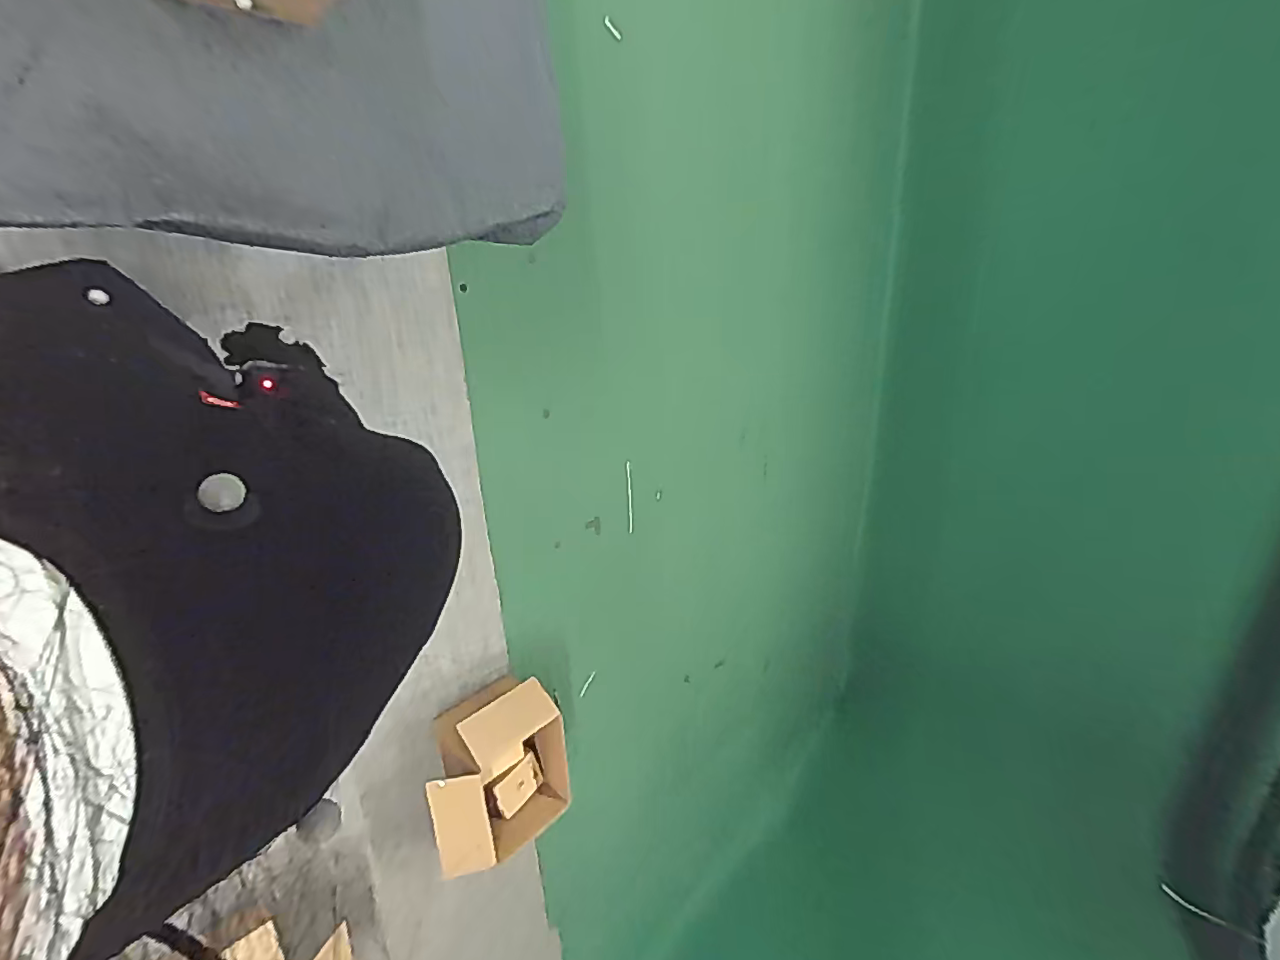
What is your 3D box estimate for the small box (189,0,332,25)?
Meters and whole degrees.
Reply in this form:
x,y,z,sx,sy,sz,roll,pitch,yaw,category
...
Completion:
x,y,z,sx,sy,sz,roll,pitch,yaw,category
-0.385,-0.565,0.491,0.168,0.176,0.179,-23,118,-40,small box
